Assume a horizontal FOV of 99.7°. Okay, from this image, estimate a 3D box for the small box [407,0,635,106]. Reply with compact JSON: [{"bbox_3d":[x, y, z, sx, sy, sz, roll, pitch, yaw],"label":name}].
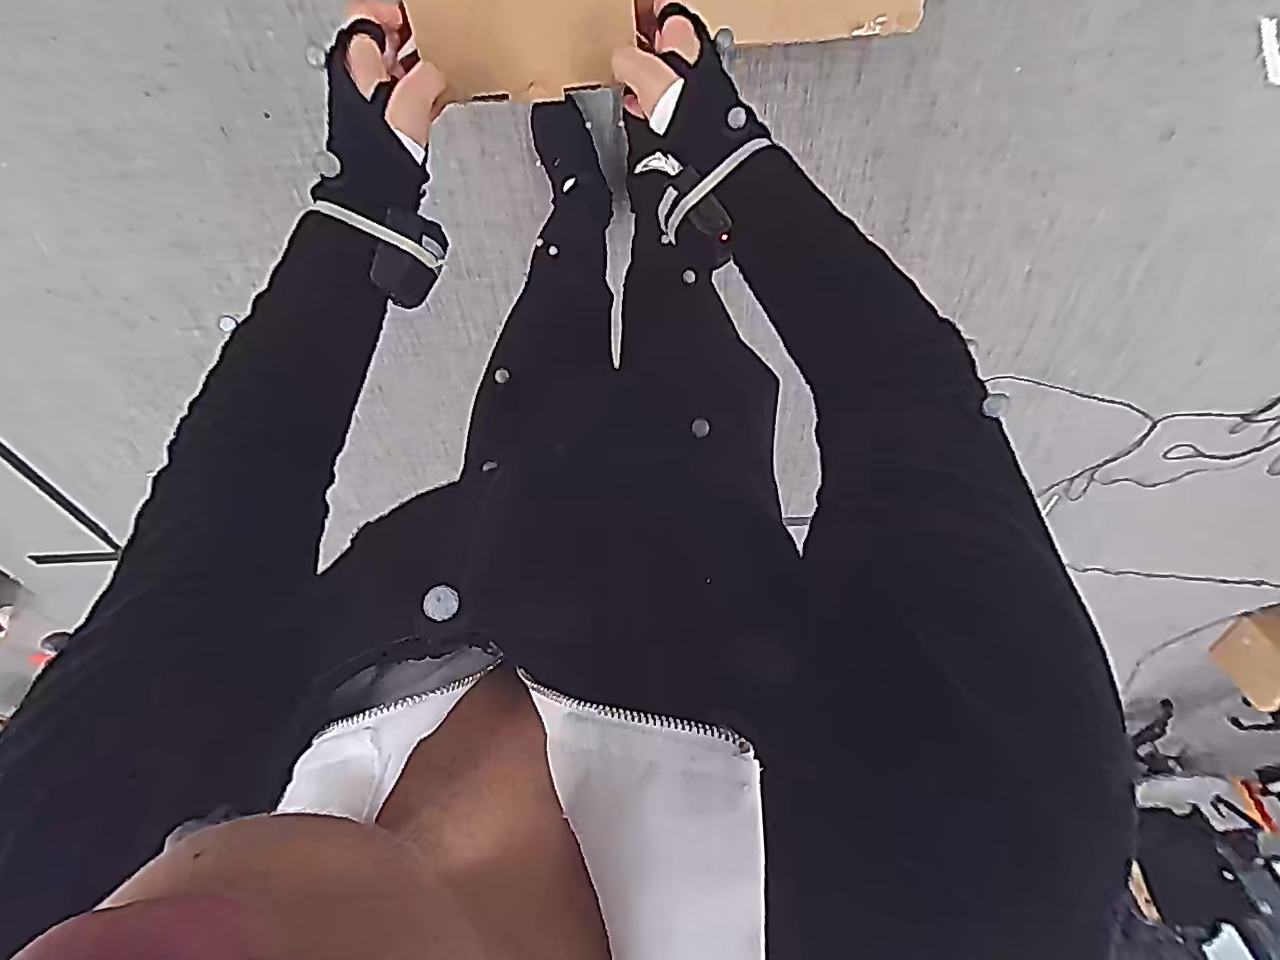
[{"bbox_3d":[-0.094,-0.426,0.426,0.168,0.176,0.179,-7,137,-1],"label":"small box"}]
